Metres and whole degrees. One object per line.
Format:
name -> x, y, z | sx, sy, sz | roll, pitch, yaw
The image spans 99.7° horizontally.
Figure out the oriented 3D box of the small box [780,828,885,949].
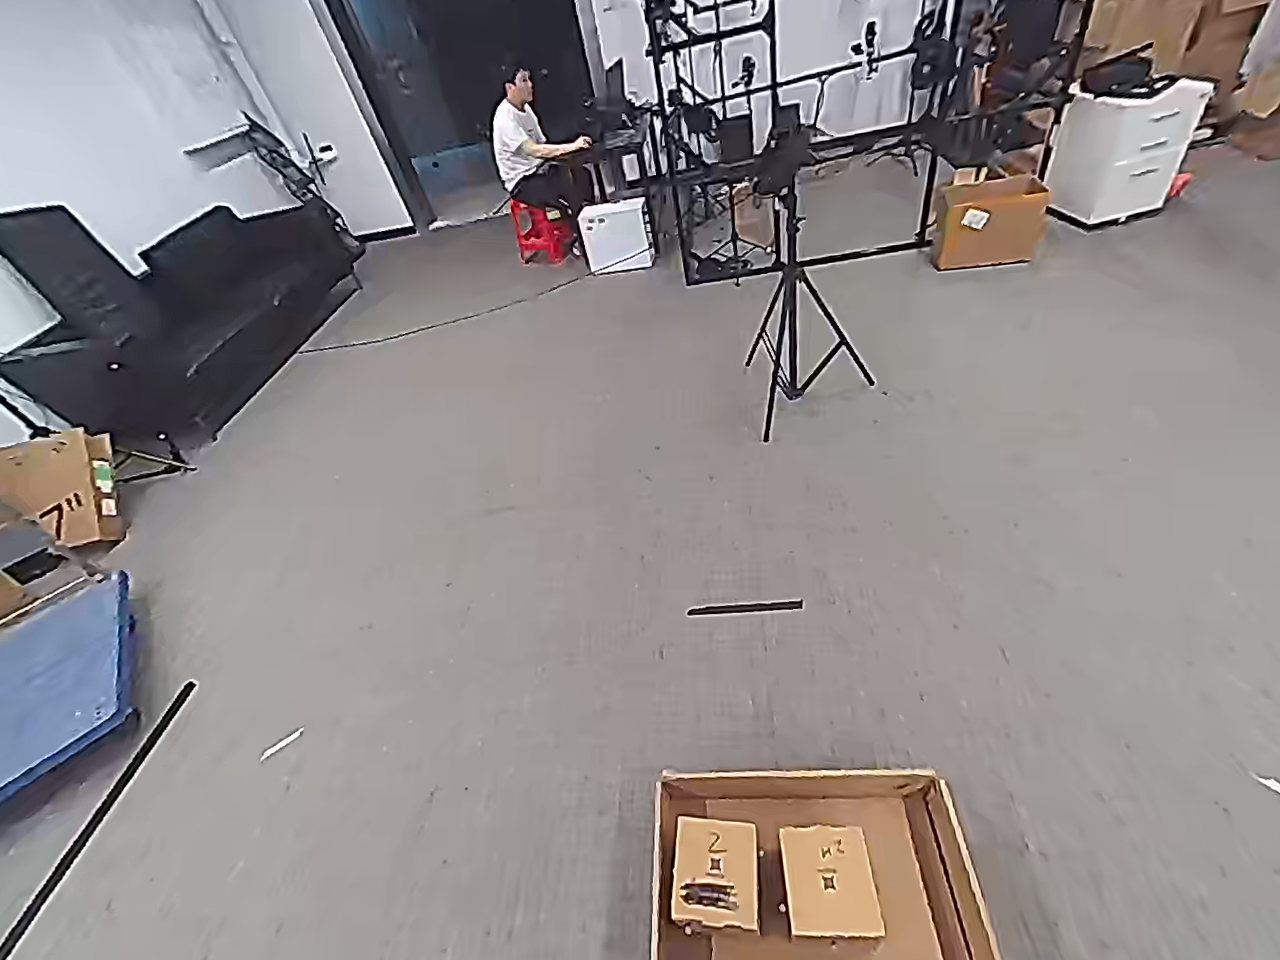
small box -> 0.380, 0.823, 1.089 | 0.168, 0.176, 0.179 | -7, 43, 10
